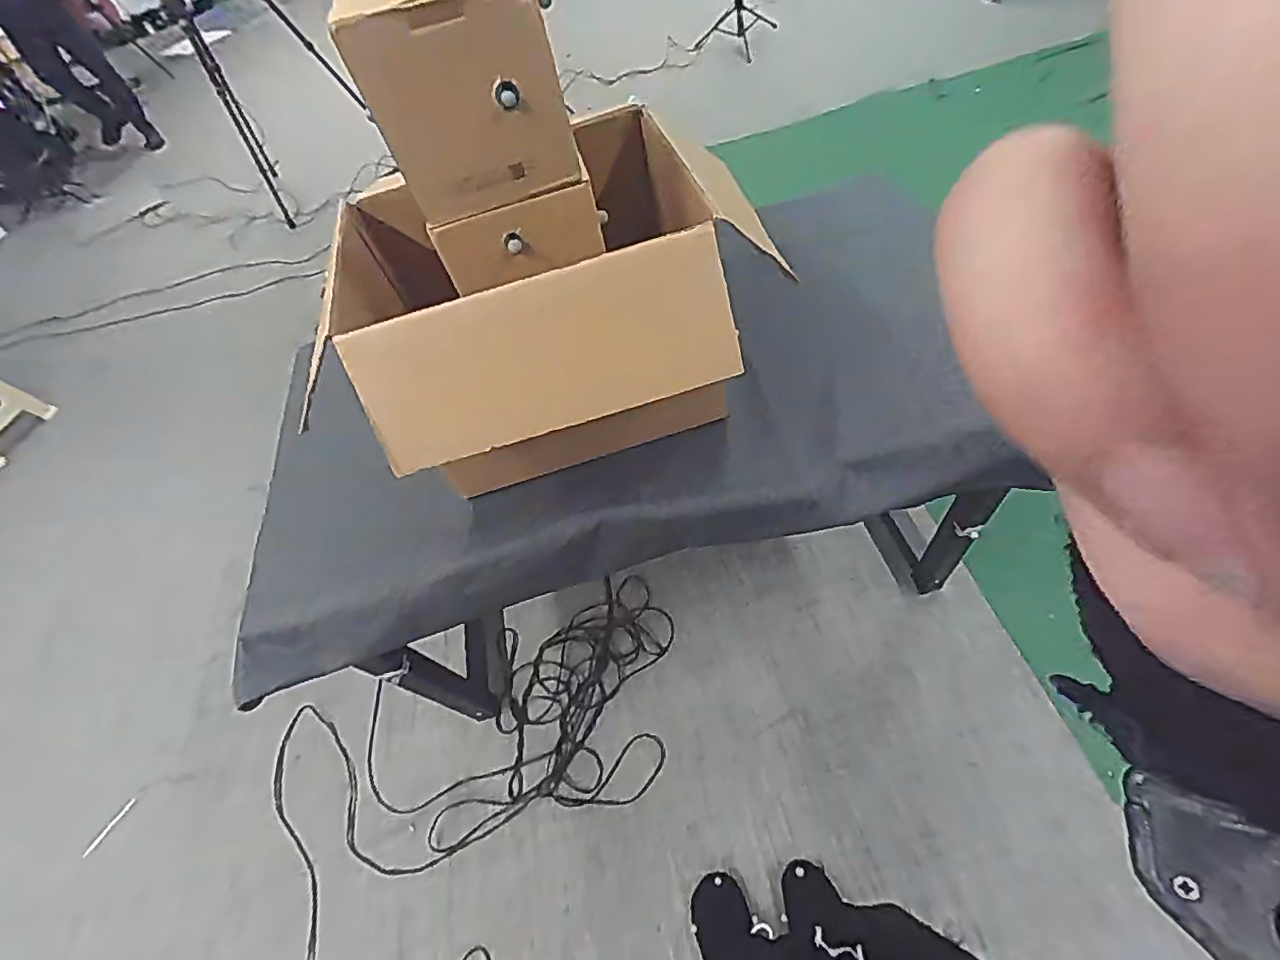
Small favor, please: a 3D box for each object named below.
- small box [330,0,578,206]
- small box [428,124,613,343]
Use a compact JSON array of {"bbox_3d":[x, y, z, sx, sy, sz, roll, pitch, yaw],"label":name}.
[{"bbox_3d":[-0.167,-0.395,0.530,0.168,0.176,0.179,-16,53,0],"label":"small box"},{"bbox_3d":[-0.138,-0.298,0.658,0.179,0.176,0.168,-17,54,0],"label":"small box"}]
